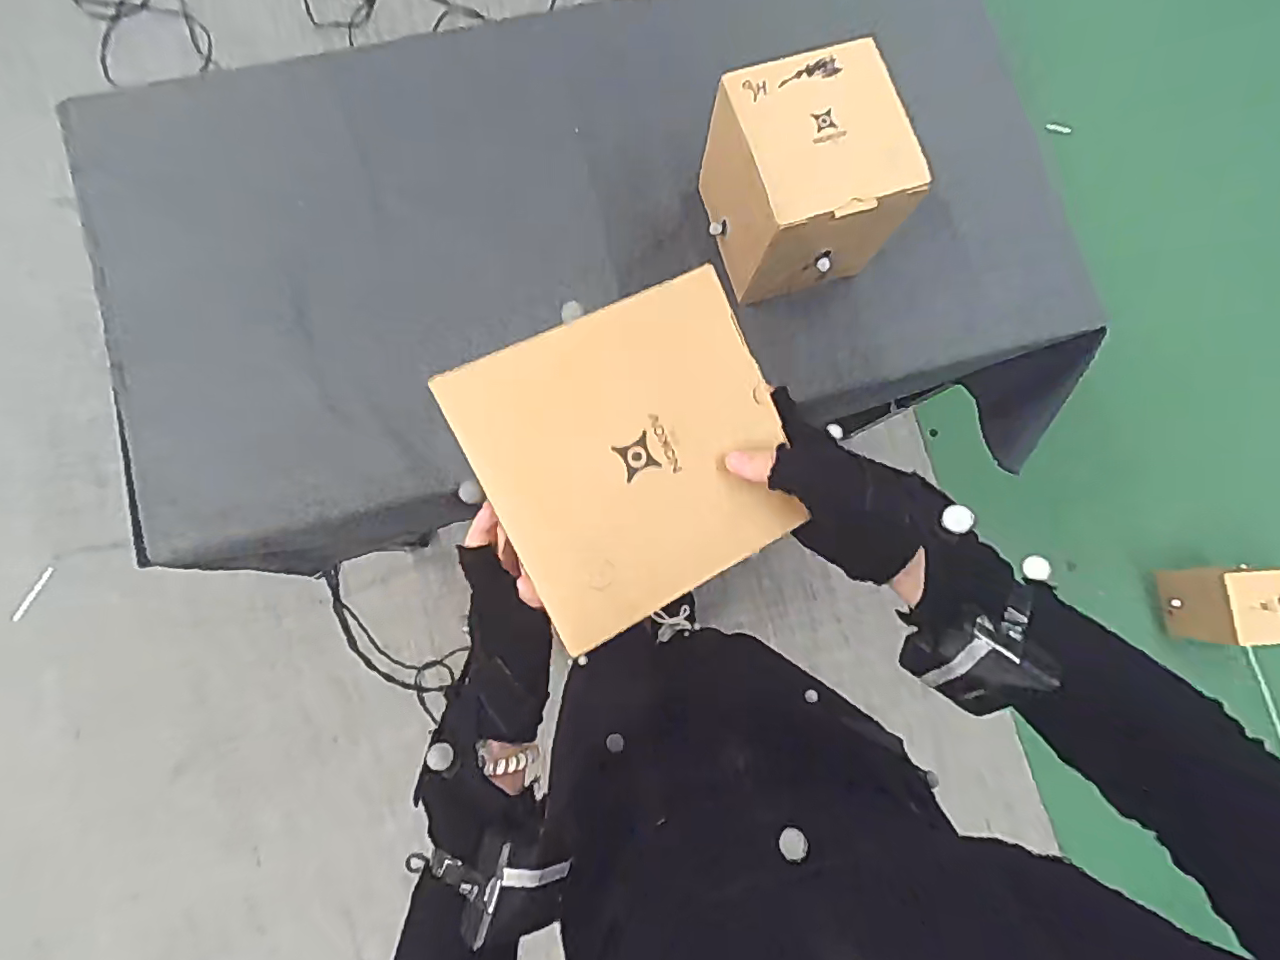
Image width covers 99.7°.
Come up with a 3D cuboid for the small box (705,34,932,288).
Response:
[{"bbox_3d":[0.185,-0.341,0.615,0.168,0.176,0.179,-17,84,-5],"label":"small box"}]

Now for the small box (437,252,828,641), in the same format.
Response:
[{"bbox_3d":[-0.015,-0.020,0.373,0.179,0.176,0.168,-27,97,-15],"label":"small box"}]

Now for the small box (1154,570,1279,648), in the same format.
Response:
[{"bbox_3d":[1.420,0.307,1.313,0.179,0.176,0.168,-3,81,-2],"label":"small box"}]
